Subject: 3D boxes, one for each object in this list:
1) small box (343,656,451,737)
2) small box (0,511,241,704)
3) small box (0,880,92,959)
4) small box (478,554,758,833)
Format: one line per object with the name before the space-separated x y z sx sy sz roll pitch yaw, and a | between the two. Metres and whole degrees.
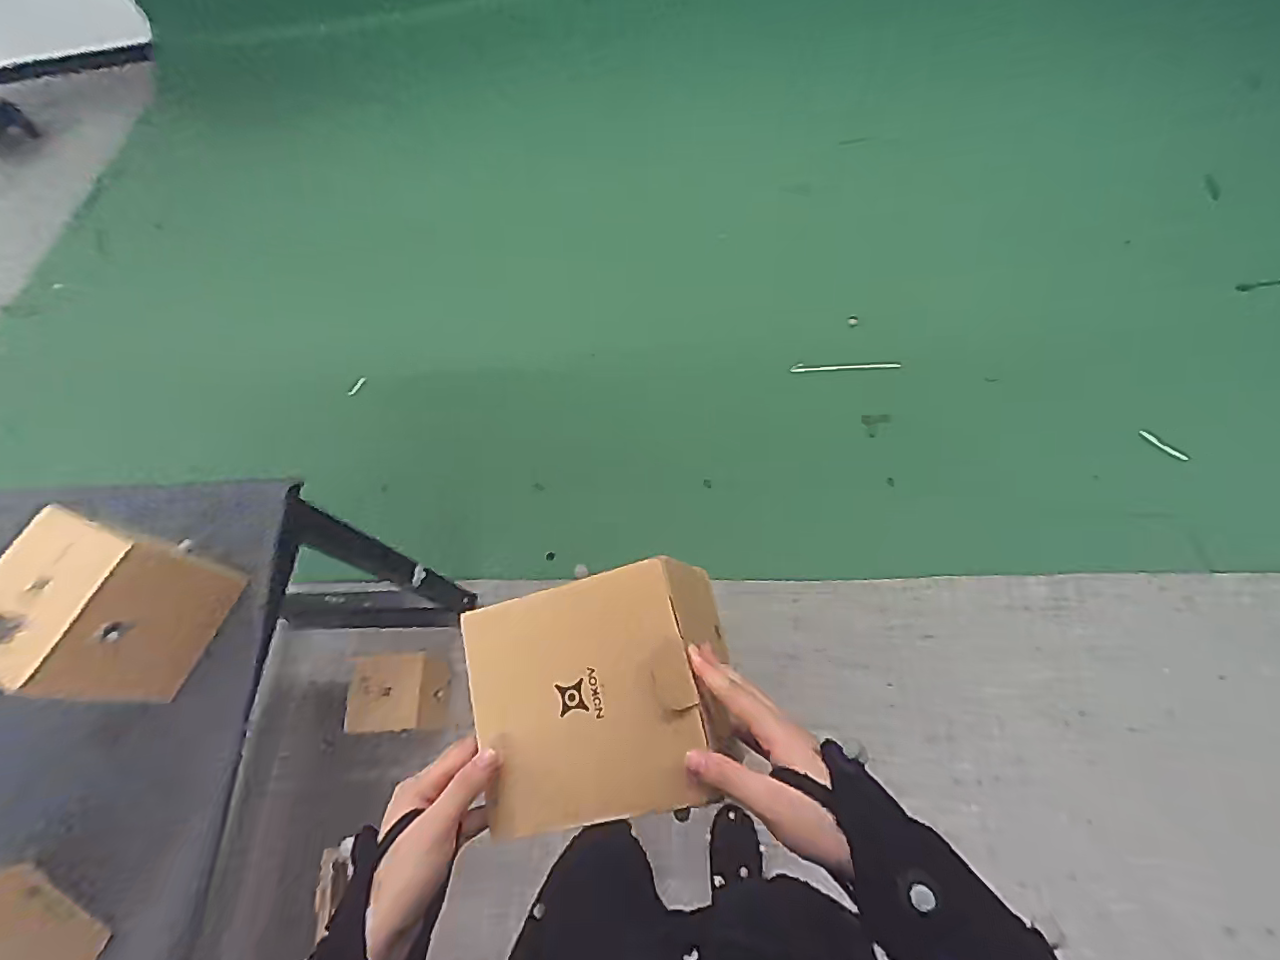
small box | -0.578 0.526 1.311 0.179 0.176 0.168 -7 64 5
small box | -0.663 0.166 0.677 0.168 0.176 0.179 16 70 17
small box | -0.697 0.528 0.519 0.168 0.176 0.179 15 69 18
small box | -0.010 0.173 0.465 0.179 0.176 0.168 -18 72 12
